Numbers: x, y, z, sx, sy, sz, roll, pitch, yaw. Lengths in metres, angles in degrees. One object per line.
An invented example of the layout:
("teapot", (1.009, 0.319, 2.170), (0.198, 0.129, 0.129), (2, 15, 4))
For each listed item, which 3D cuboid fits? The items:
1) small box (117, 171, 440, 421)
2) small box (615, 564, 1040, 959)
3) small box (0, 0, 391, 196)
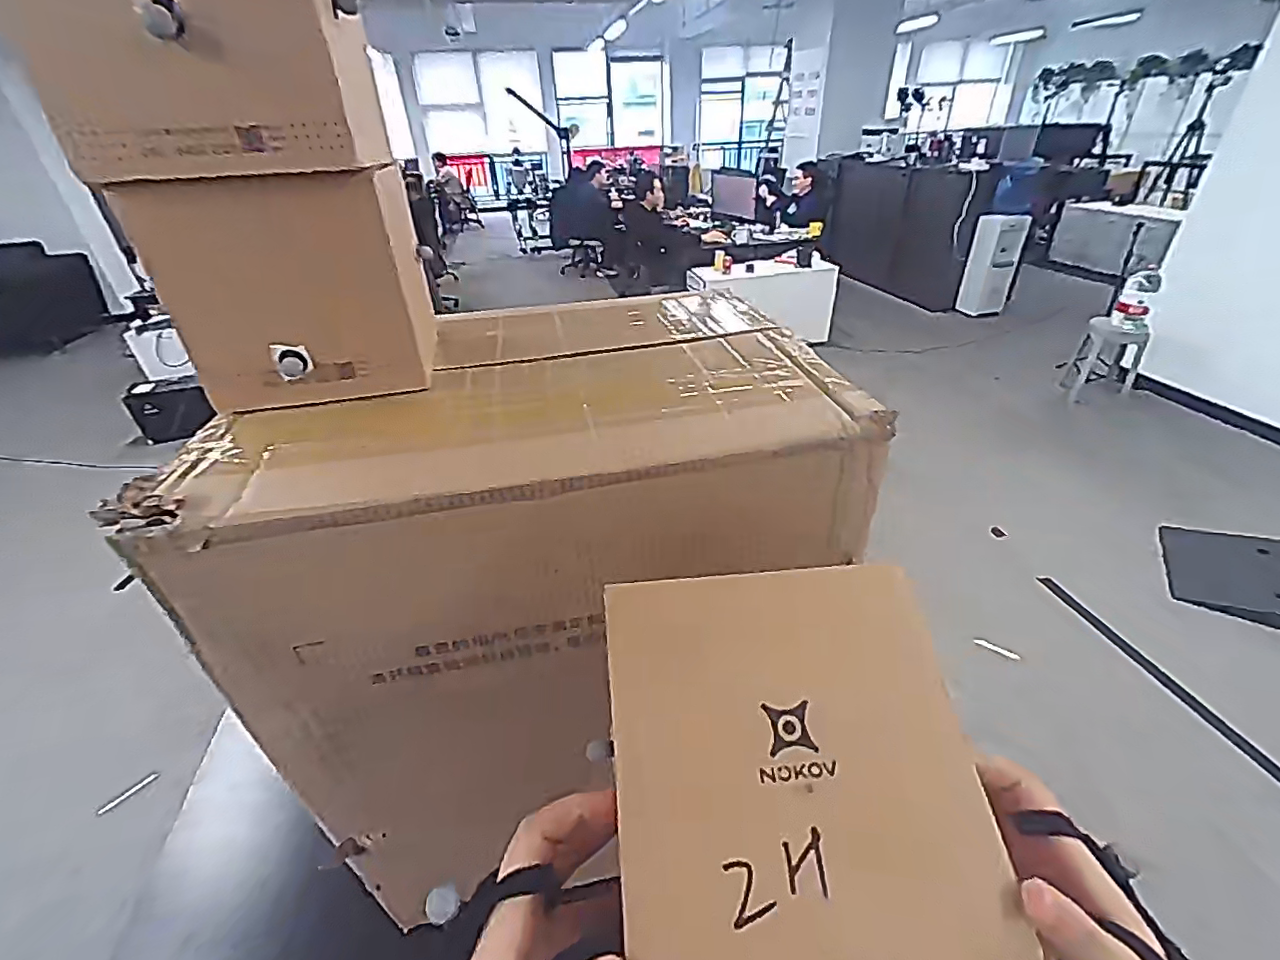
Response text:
("small box", (-0.283, -0.169, 0.478), (0.168, 0.176, 0.179), (-12, 34, -12))
("small box", (0.071, 0.168, 0.323), (0.168, 0.176, 0.179), (-4, 58, -3))
("small box", (-0.289, -0.299, 0.377), (0.168, 0.176, 0.179), (-10, 34, -11))
